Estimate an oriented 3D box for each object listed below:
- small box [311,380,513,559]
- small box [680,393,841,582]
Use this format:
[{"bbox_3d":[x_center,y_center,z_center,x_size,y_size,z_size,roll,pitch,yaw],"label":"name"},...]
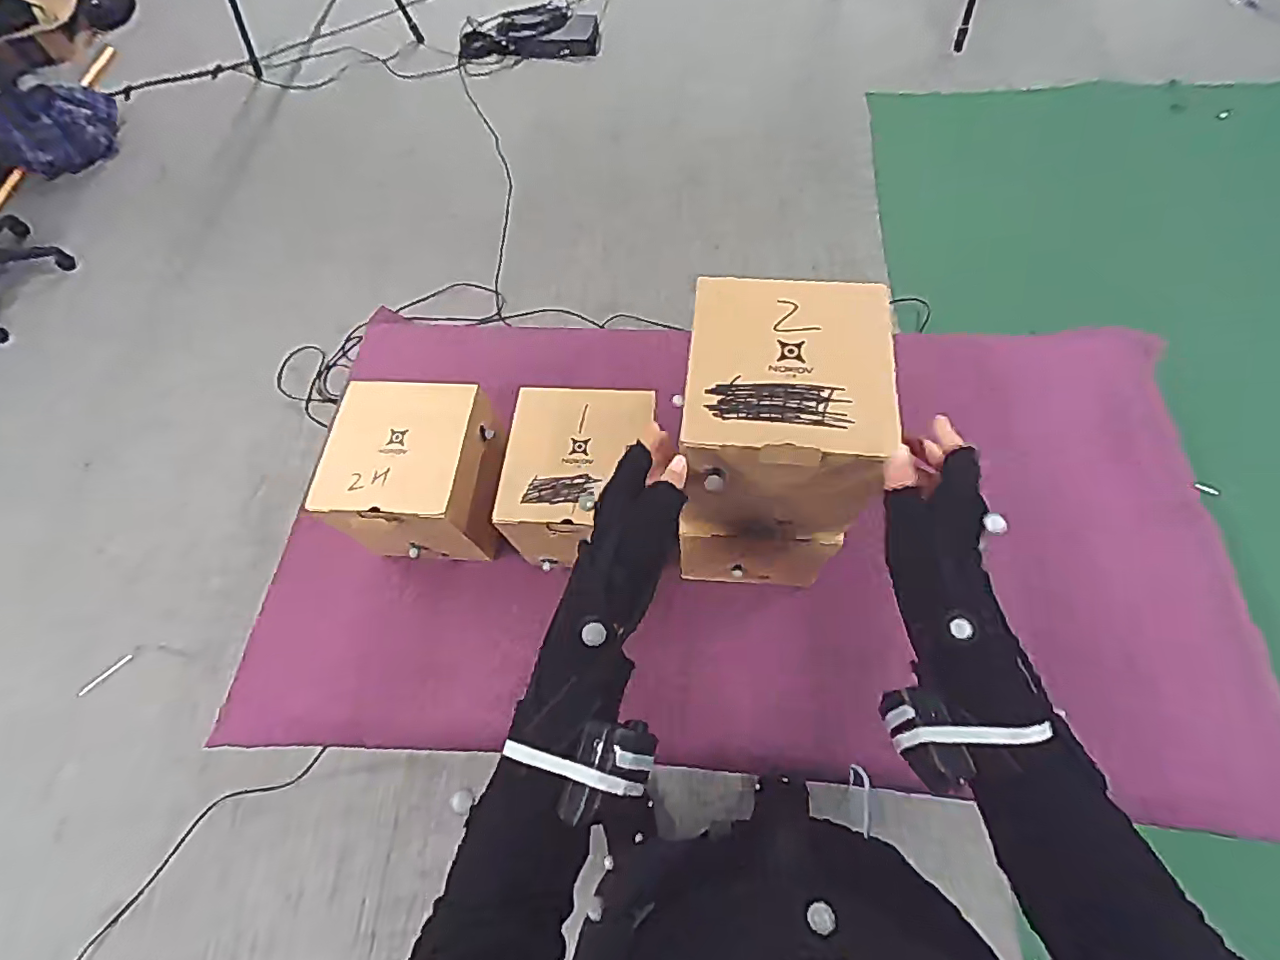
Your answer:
[{"bbox_3d":[-0.276,-0.009,0.705,0.168,0.176,0.179,2,66,6],"label":"small box"},{"bbox_3d":[0.136,0.014,0.662,0.168,0.176,0.179,2,66,6],"label":"small box"}]
